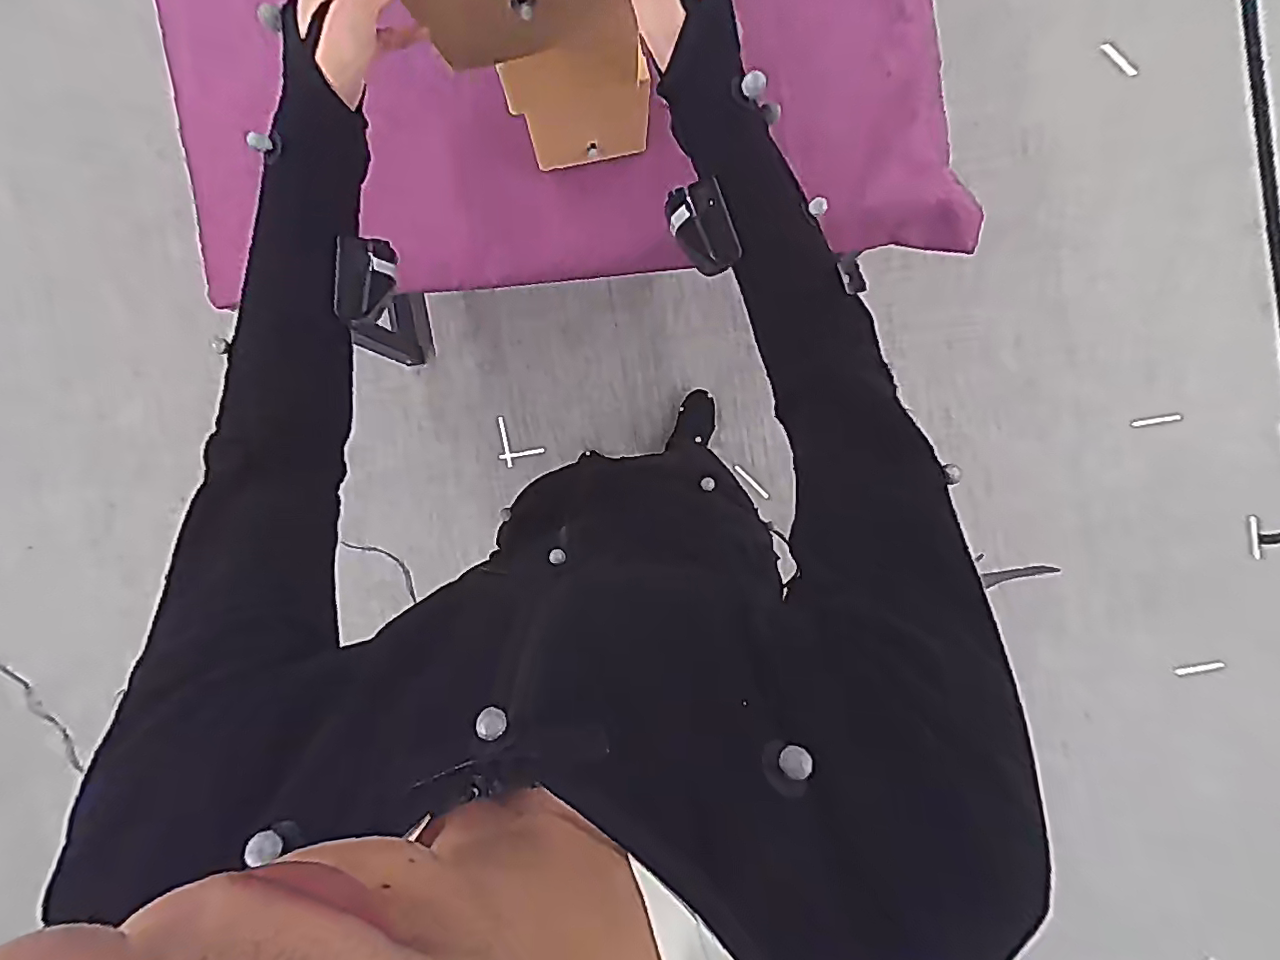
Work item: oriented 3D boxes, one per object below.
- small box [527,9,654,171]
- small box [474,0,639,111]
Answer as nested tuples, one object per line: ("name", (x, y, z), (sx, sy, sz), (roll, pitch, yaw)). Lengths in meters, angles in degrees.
("small box", (-0.085, -0.589, 0.792), (0.179, 0.176, 0.168), (-12, 91, -2))
("small box", (-0.098, -0.570, 0.629), (0.179, 0.176, 0.168), (-12, 92, -1))
